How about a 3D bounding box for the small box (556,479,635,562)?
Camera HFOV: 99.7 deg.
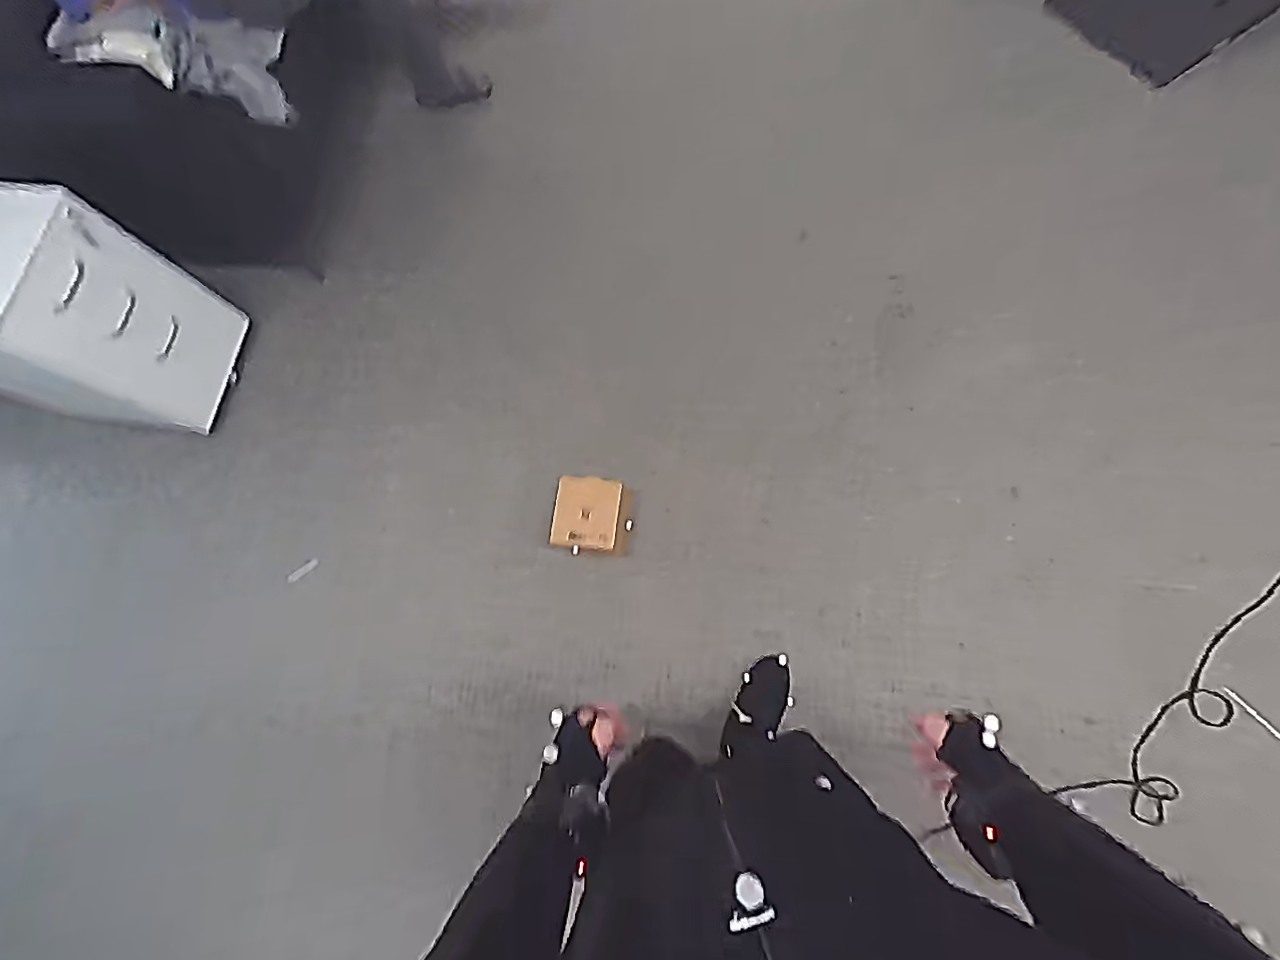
[{"bbox_3d":[-0.111,0.112,1.445,0.168,0.176,0.179,6,74,9],"label":"small box"}]
